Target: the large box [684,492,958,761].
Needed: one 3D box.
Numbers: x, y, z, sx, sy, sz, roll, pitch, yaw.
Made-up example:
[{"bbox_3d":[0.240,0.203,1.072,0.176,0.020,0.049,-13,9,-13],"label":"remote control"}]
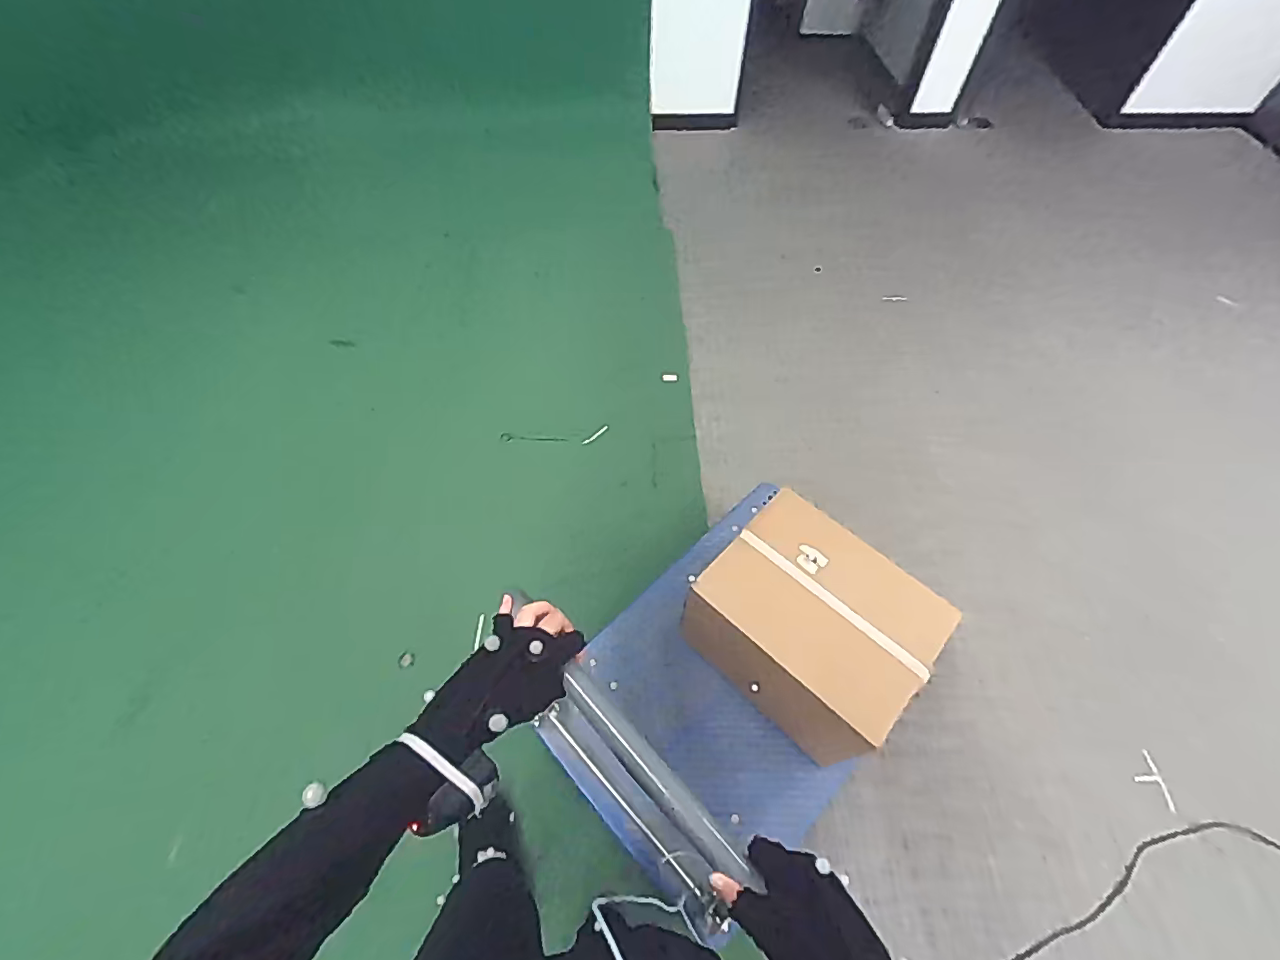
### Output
[{"bbox_3d":[0.346,0.309,1.137,0.408,0.320,0.320,38,64,22],"label":"large box"}]
